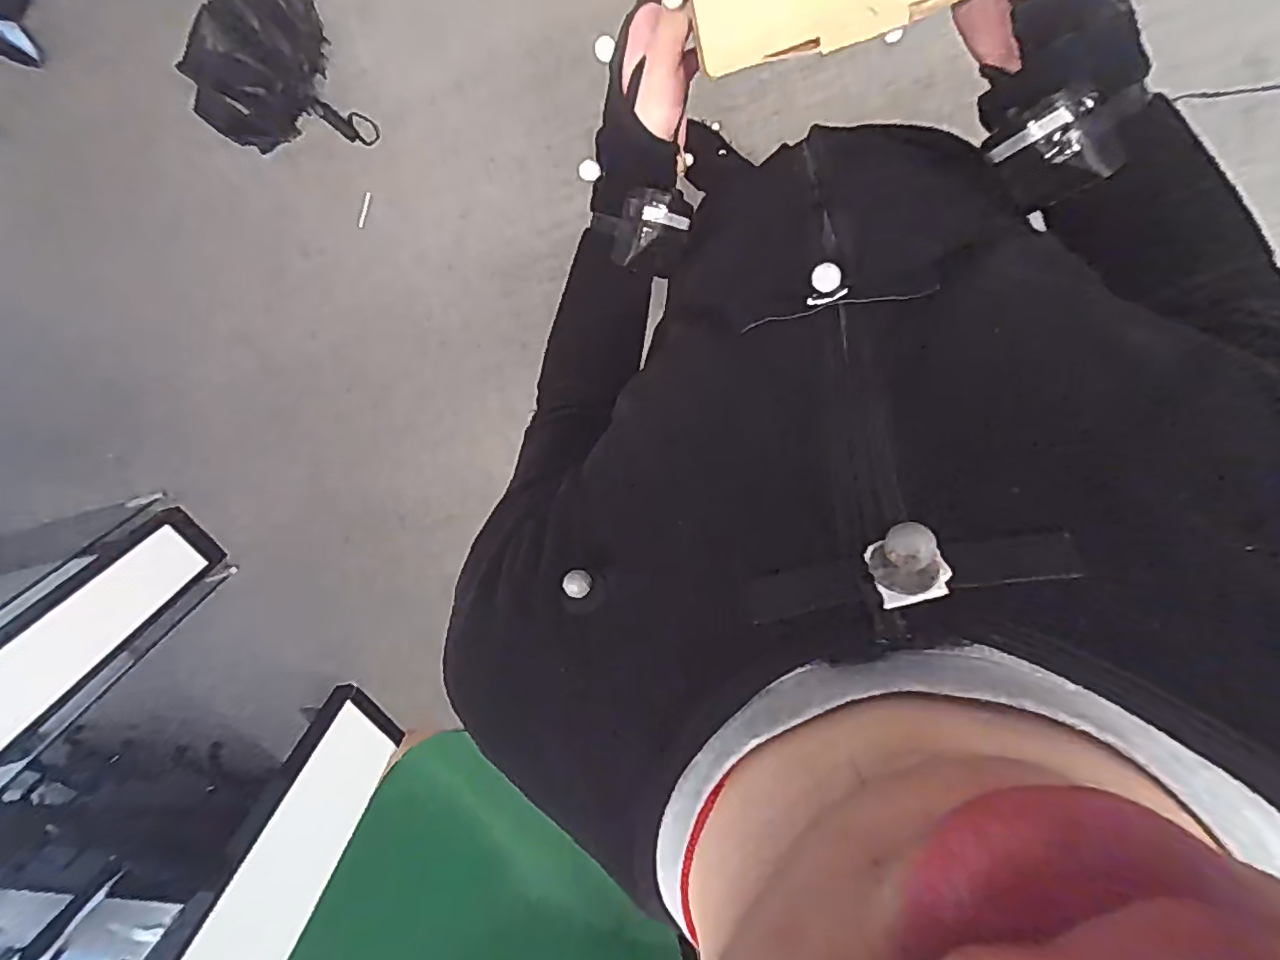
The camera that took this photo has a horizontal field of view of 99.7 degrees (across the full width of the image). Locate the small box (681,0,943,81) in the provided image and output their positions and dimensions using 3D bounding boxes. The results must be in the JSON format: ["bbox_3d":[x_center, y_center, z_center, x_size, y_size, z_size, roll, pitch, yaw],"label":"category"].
[{"bbox_3d":[0.092,-0.350,0.292,0.168,0.176,0.179,-11,126,13],"label":"small box"}]
